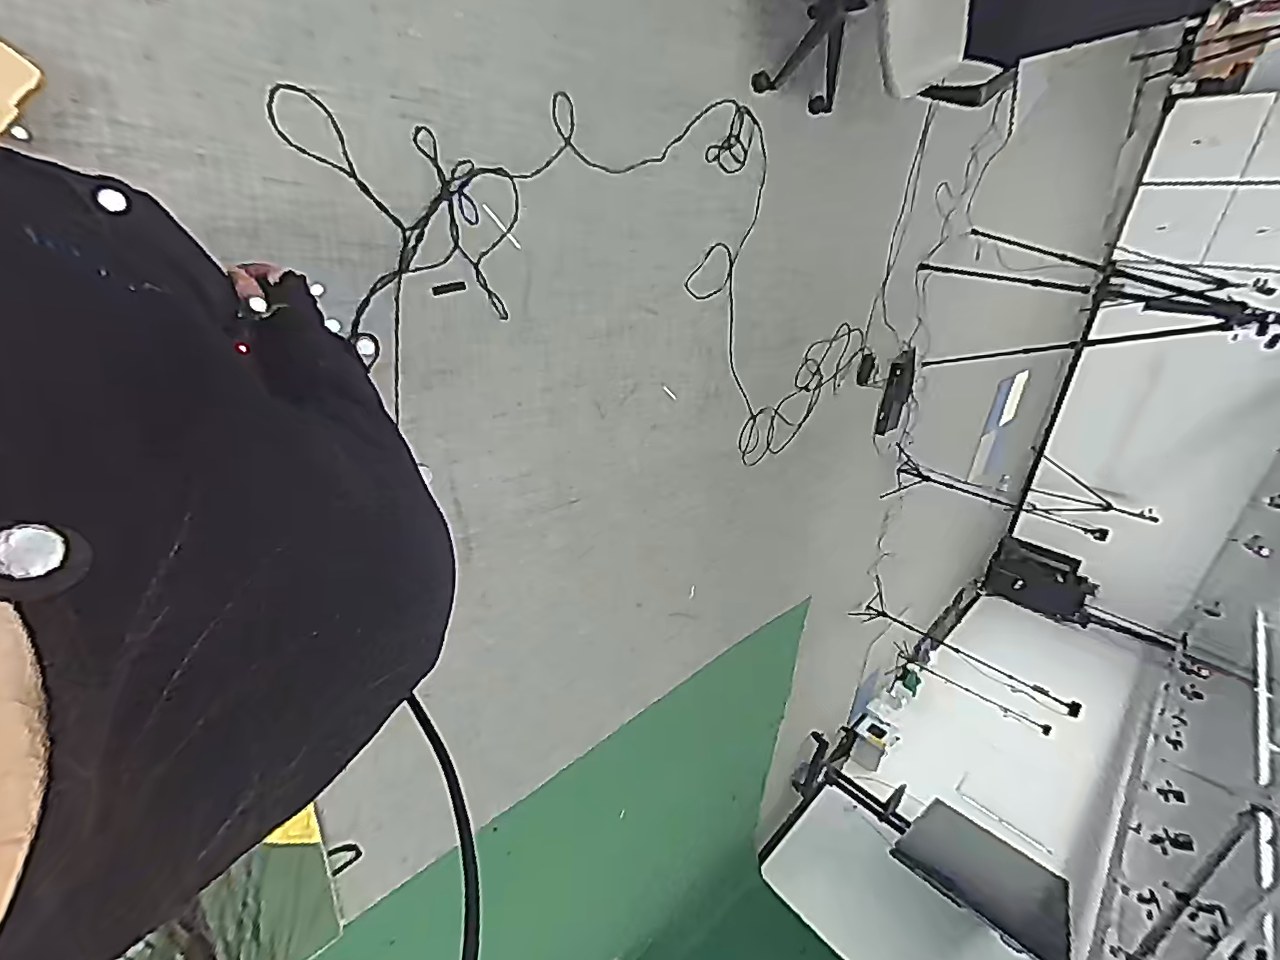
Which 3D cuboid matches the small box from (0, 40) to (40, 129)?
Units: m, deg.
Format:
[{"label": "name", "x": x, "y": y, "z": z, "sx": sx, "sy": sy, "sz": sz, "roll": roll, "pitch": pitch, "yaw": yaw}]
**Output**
[{"label": "small box", "x": -0.952, "y": -0.554, "z": 0.709, "sx": 0.168, "sy": 0.176, "sz": 0.179, "roll": -57, "pitch": 140, "yaw": -7}]
